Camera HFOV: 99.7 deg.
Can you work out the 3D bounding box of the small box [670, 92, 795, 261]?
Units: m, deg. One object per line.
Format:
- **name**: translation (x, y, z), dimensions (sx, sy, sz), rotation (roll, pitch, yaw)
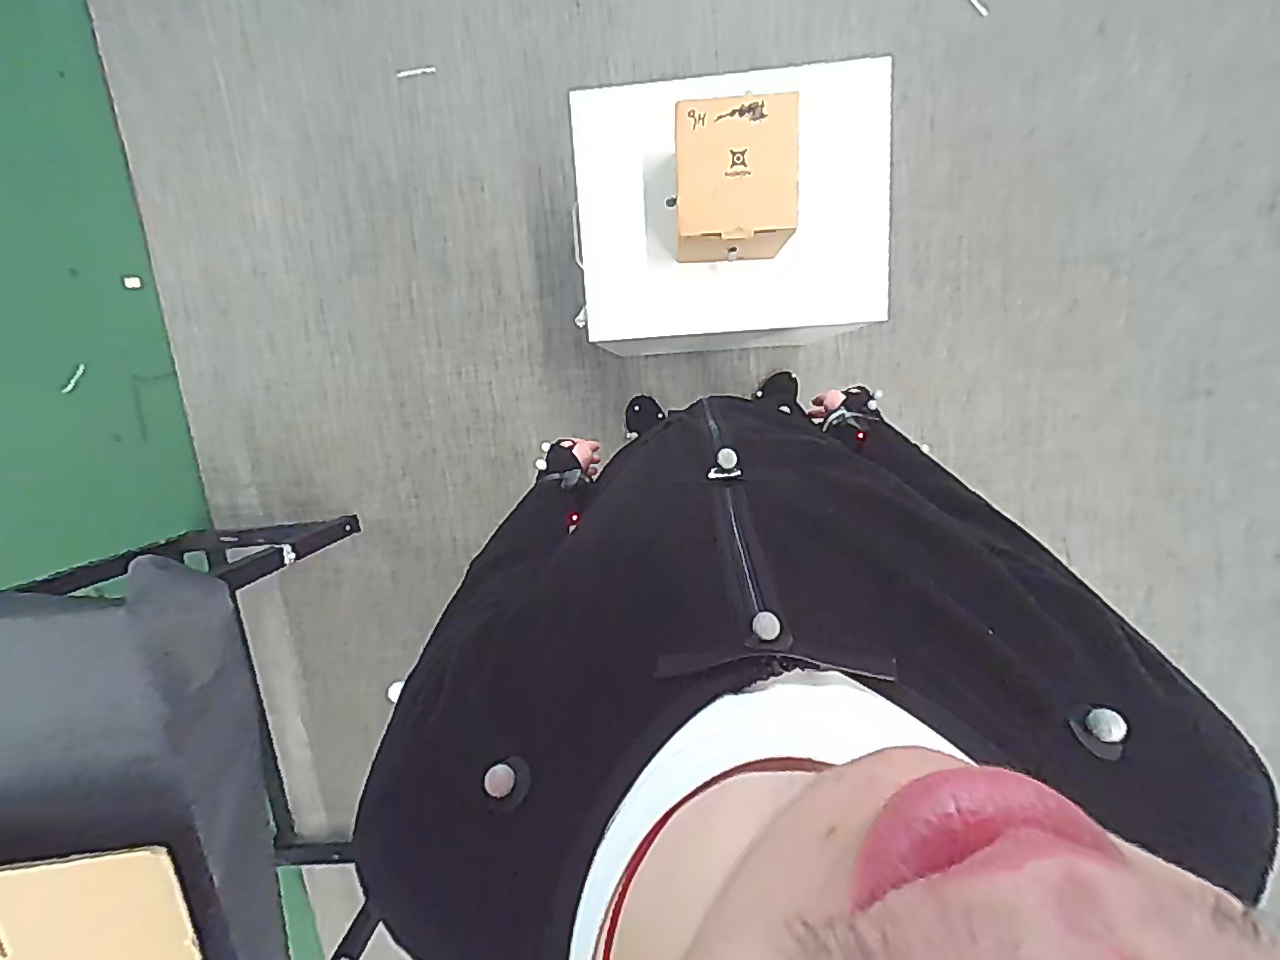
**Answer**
- **small box**: translation (0.134, -0.437, 0.813), dimensions (0.168, 0.176, 0.179), rotation (-4, 99, 4)
